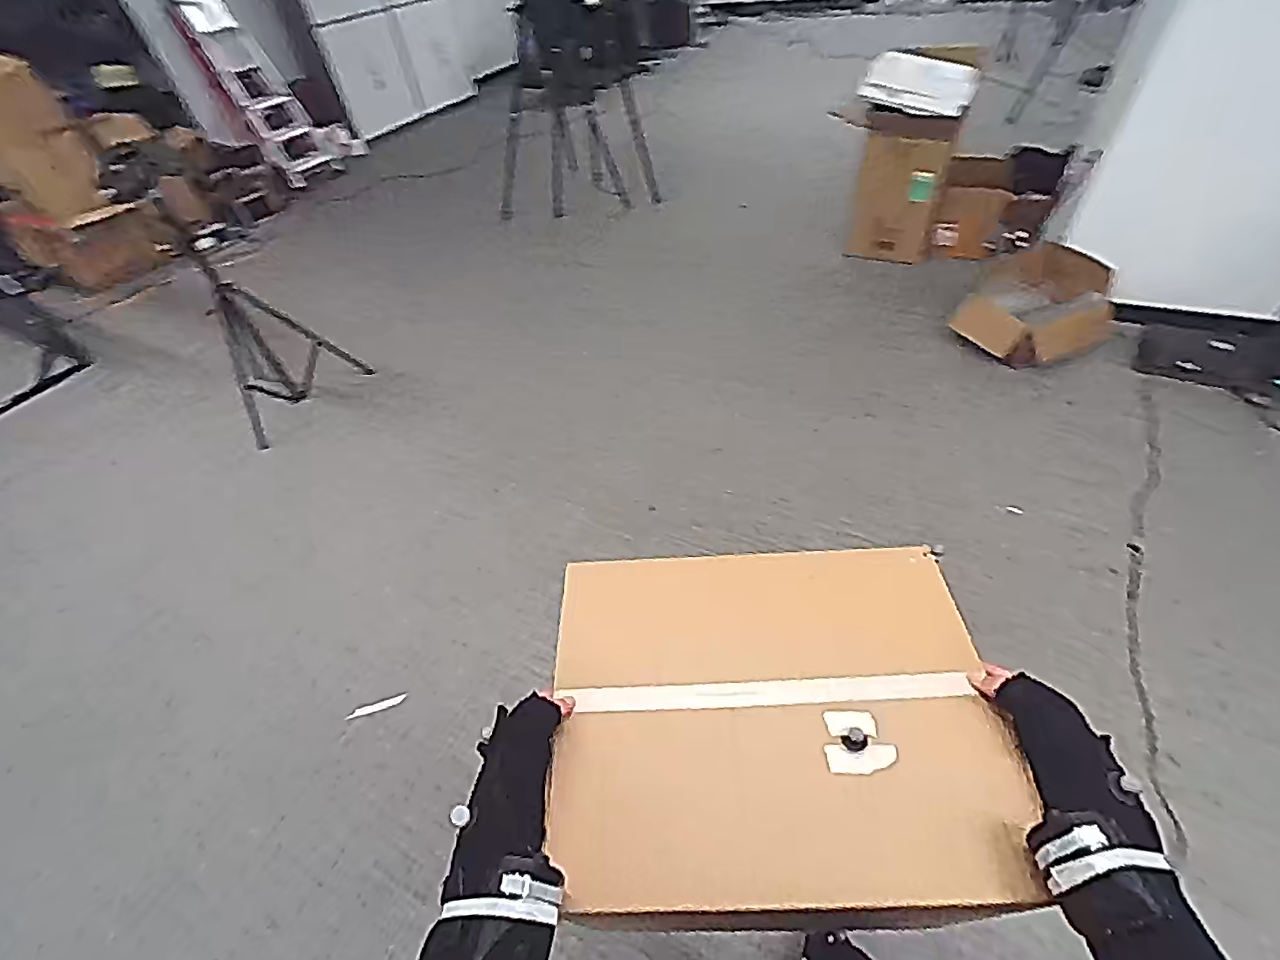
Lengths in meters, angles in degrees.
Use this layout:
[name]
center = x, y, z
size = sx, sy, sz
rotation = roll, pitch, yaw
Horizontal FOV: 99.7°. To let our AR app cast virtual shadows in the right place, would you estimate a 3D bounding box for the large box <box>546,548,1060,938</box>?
[large box]
center = 0.125, 0.304, 0.620
size = 0.408, 0.320, 0.320
rotation = -4, 48, 2
